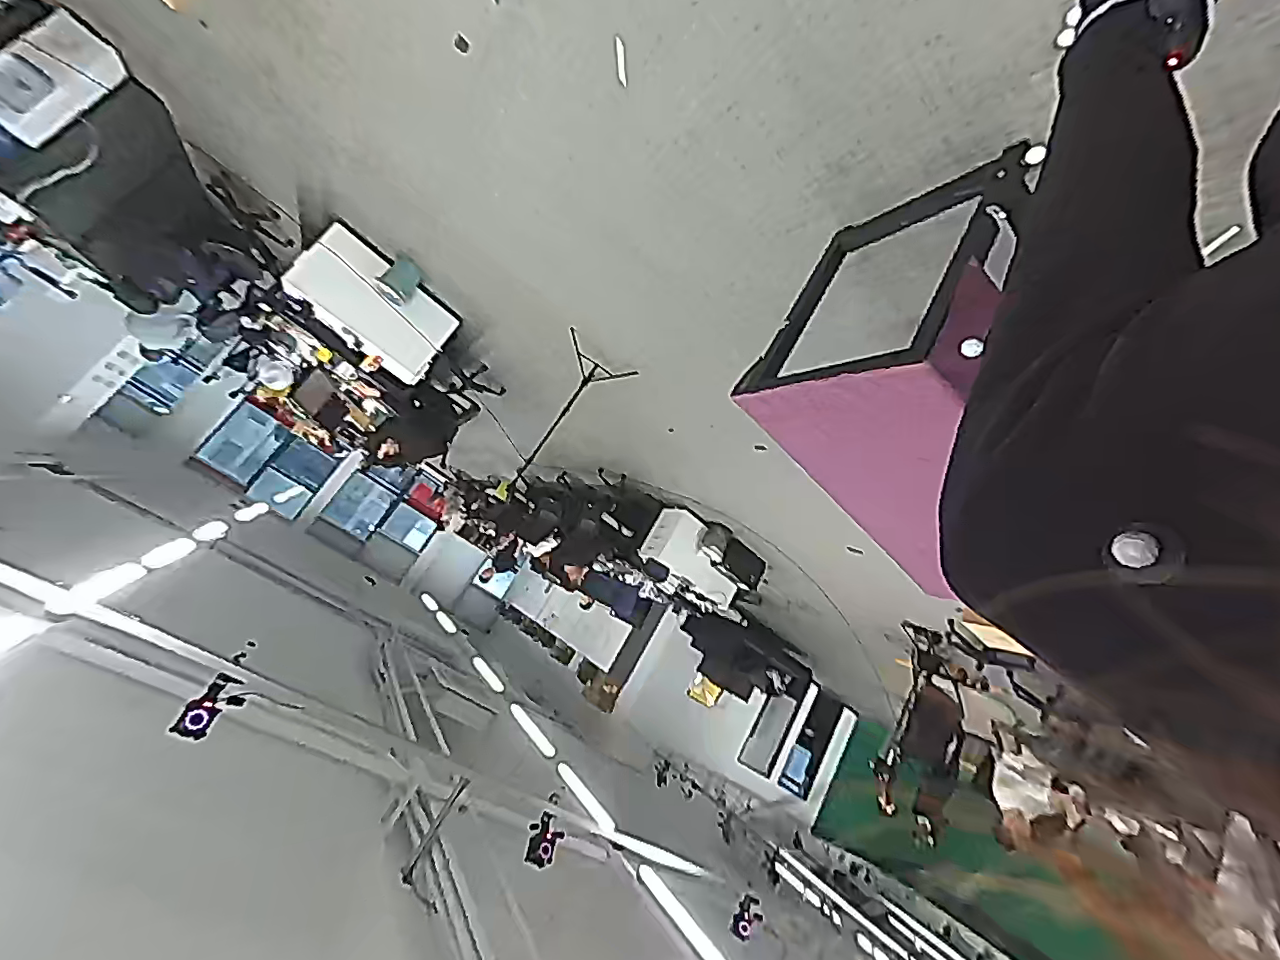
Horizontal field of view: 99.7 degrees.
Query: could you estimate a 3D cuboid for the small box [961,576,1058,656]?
[{"bbox_3d":[1.145,0.413,1.674,0.168,0.176,0.179,38,162,-21],"label":"small box"}]
